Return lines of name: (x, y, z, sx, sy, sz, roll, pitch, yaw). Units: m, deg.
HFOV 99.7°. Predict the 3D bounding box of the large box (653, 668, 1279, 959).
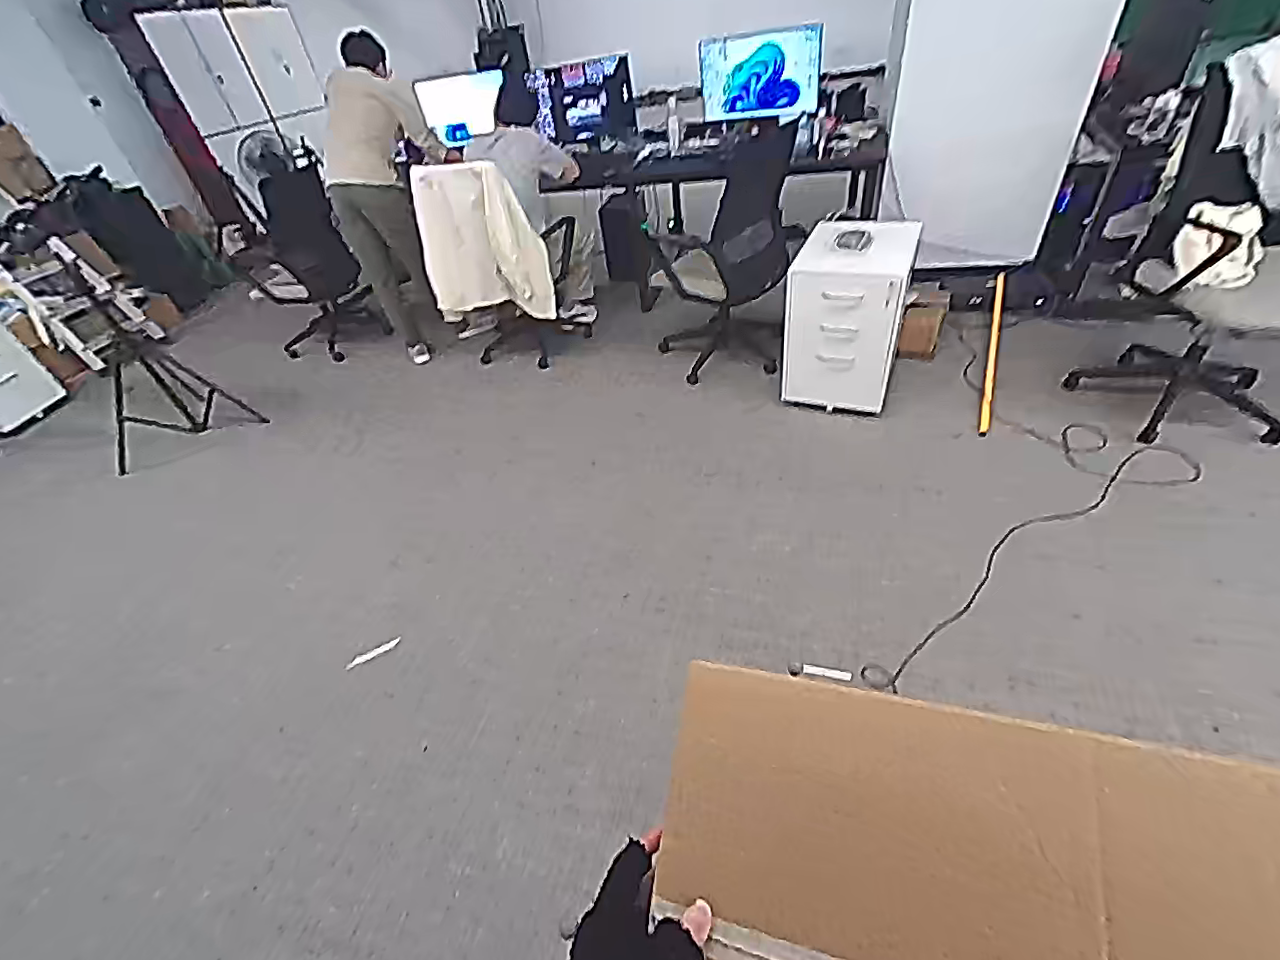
large box: (0.243, 0.348, 0.417, 0.408, 0.320, 0.320, 4, 70, 21)
